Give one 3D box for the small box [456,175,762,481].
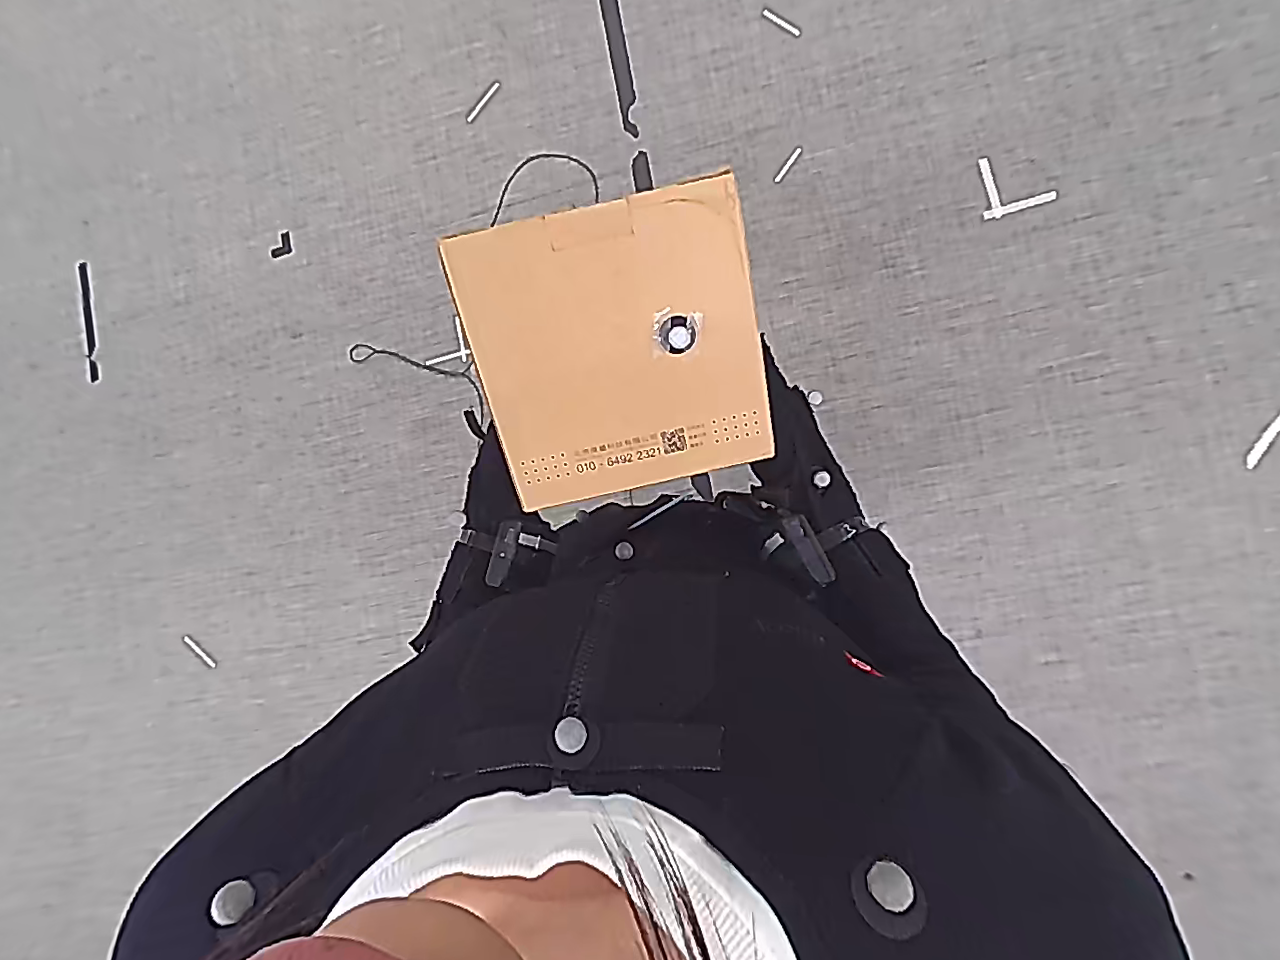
[{"bbox_3d":[-0.013,-0.108,0.411,0.168,0.179,0.176,-12,112,2],"label":"small box"}]
